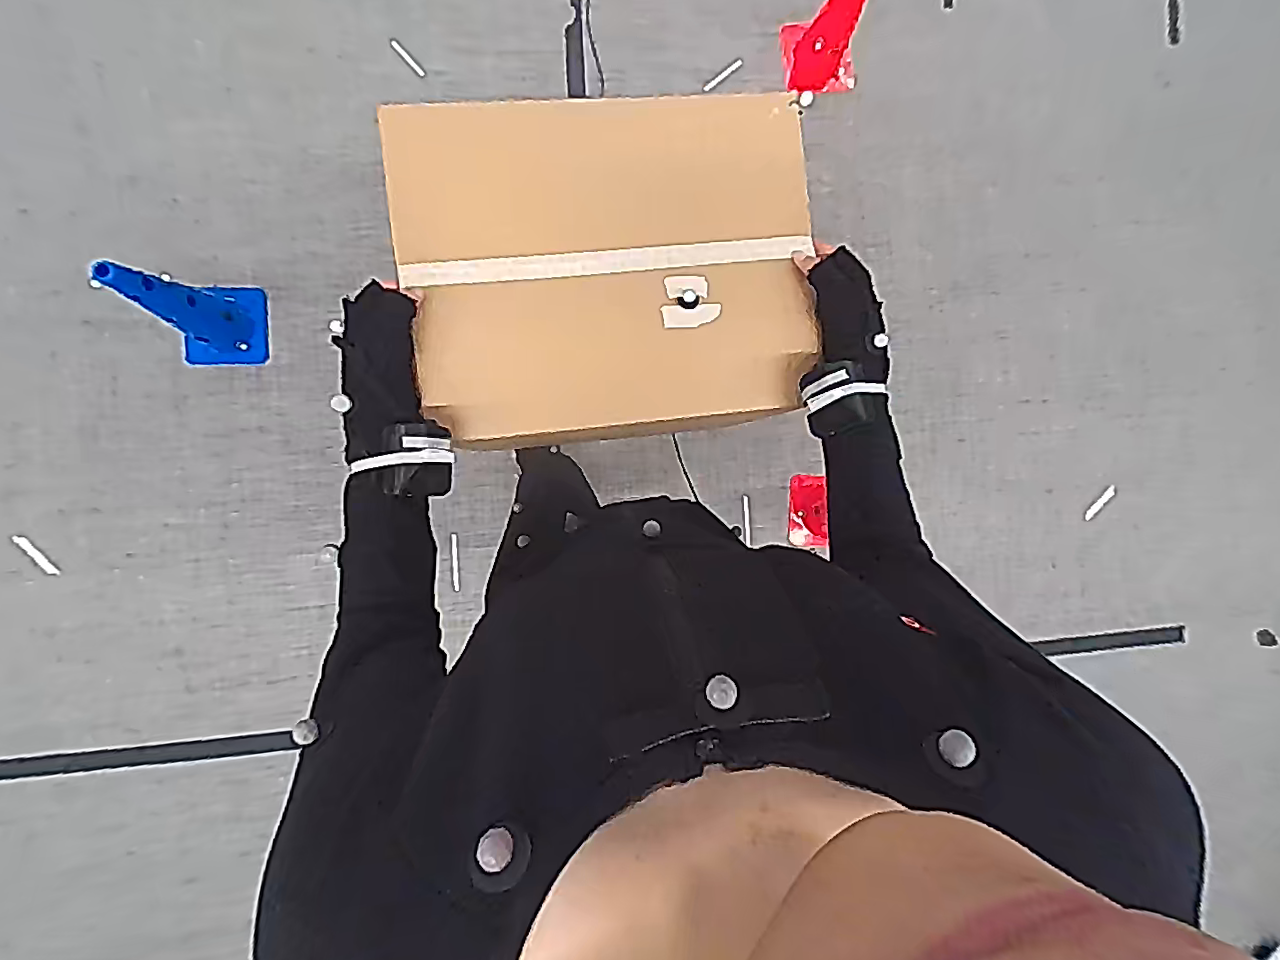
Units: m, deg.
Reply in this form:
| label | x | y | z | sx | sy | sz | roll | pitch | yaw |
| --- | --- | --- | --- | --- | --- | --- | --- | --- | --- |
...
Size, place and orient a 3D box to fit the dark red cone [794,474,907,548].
| label | x | y | z | sx | sy | sz | roll | pitch | yaw |
| --- | --- | --- | --- | --- | --- | --- | --- | --- | --- |
| dark red cone | 0.537 | 0.085 | 1.337 | 0.201 | 0.394 | 0.202 | 2 | 89 | -4 |

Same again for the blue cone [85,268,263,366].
| label | x | y | z | sx | sy | sz | roll | pitch | yaw |
| --- | --- | --- | --- | --- | --- | --- | --- | --- | --- |
| blue cone | -1.060 | -0.393 | 1.232 | 0.192 | 0.380 | 0.193 | 0 | 89 | -4 |

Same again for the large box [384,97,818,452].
| label | x | y | z | sx | sy | sz | roll | pitch | yaw |
| --- | --- | --- | --- | --- | --- | --- | --- | --- | --- |
| large box | -0.048 | -0.217 | 0.681 | 0.408 | 0.320 | 0.320 | -7 | 92 | -7 |

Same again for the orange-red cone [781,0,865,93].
| label | x | y | z | sx | sy | sz | roll | pitch | yaw |
| --- | --- | --- | --- | --- | --- | --- | --- | --- | --- |
| orange-red cone | 0.522 | -1.215 | 1.379 | 0.198 | 0.360 | 0.199 | -6 | 88 | -6 |
